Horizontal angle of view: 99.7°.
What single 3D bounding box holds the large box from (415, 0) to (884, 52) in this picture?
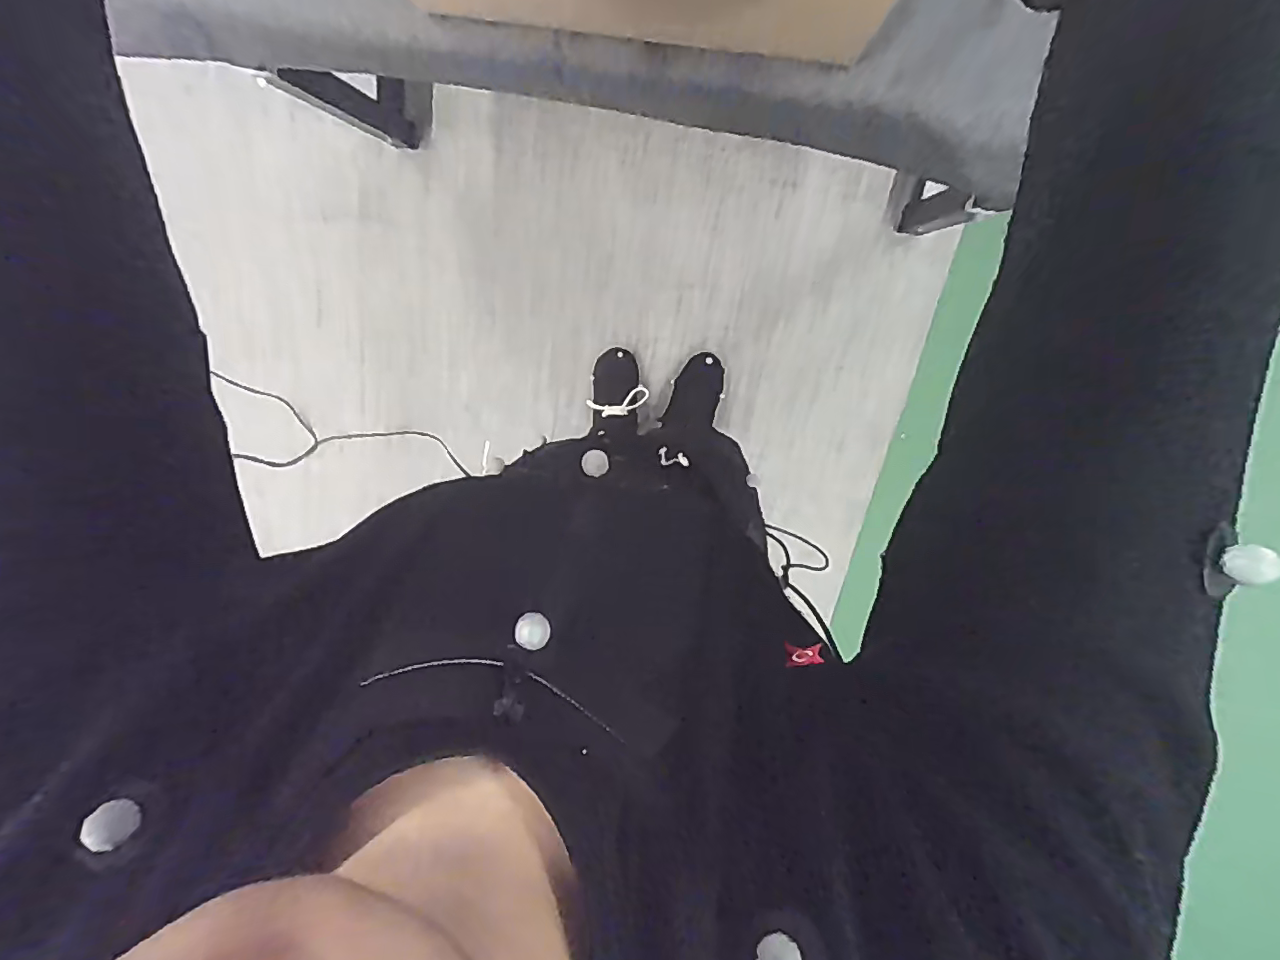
[{"bbox_3d":[0.001,-0.507,0.309,0.408,0.320,0.320,8,108,2],"label":"large box"}]
